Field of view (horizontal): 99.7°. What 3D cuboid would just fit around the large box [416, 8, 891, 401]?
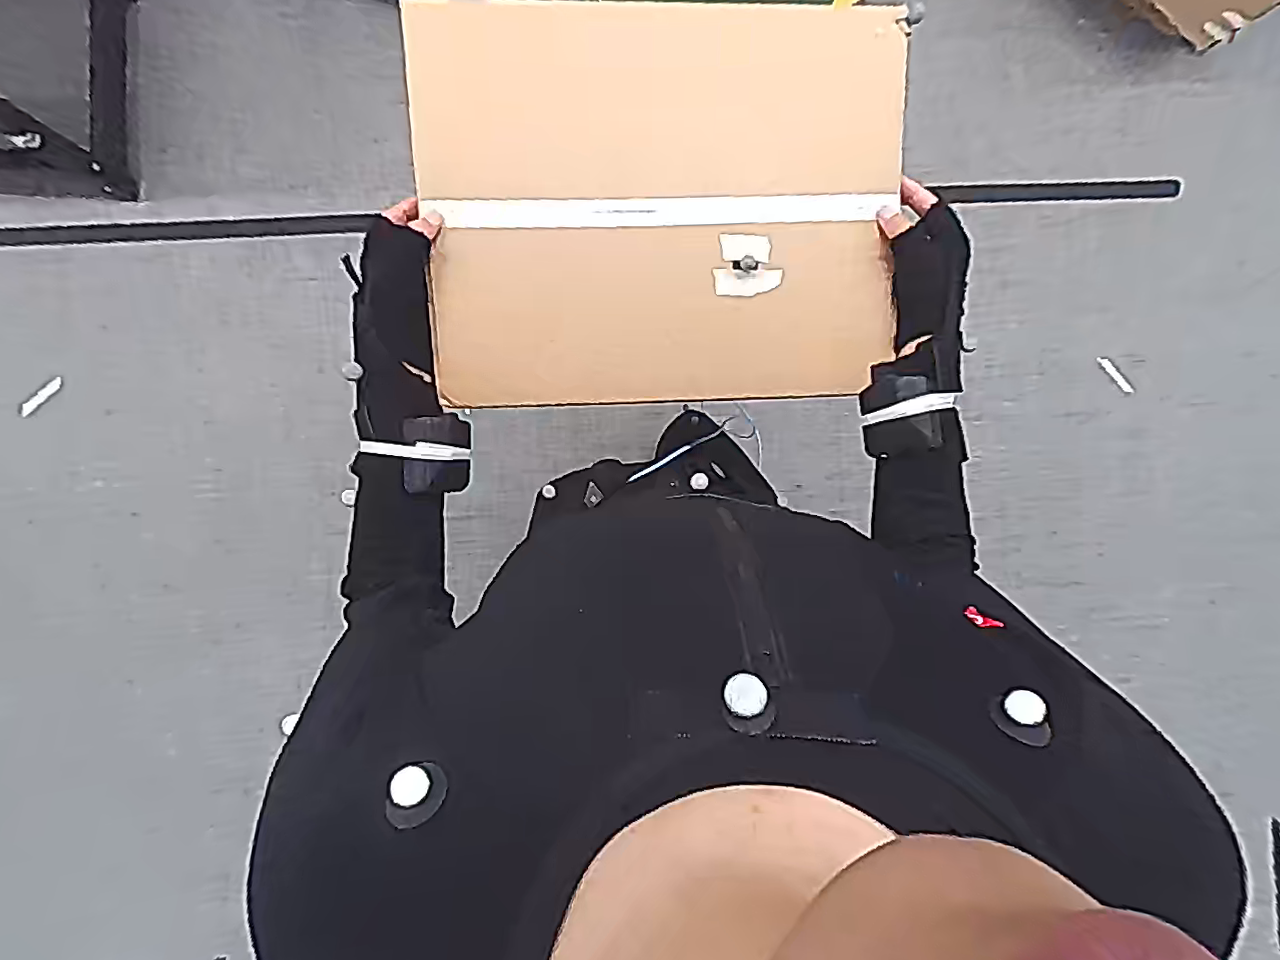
[{"bbox_3d":[0.008,-0.256,0.614,0.408,0.320,0.320,-2,100,-5],"label":"large box"}]
